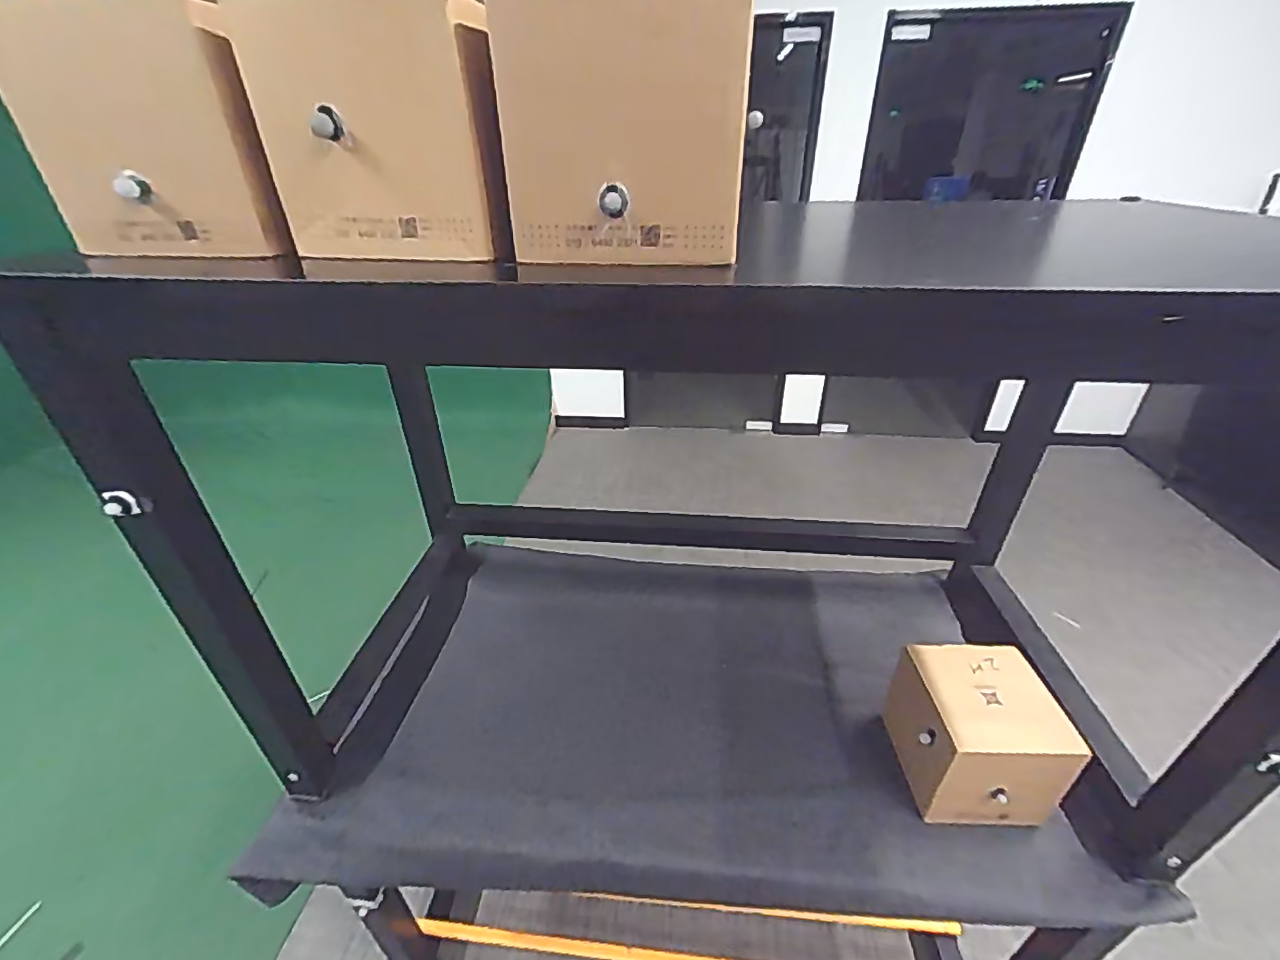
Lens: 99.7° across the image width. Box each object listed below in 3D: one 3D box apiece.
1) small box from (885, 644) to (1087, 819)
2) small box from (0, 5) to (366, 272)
[{"bbox_3d":[0.481,0.363,0.786,0.168,0.176,0.179,1,31,2],"label":"small box"},{"bbox_3d":[-0.369,-0.291,0.476,0.168,0.176,0.179,2,33,4],"label":"small box"}]
